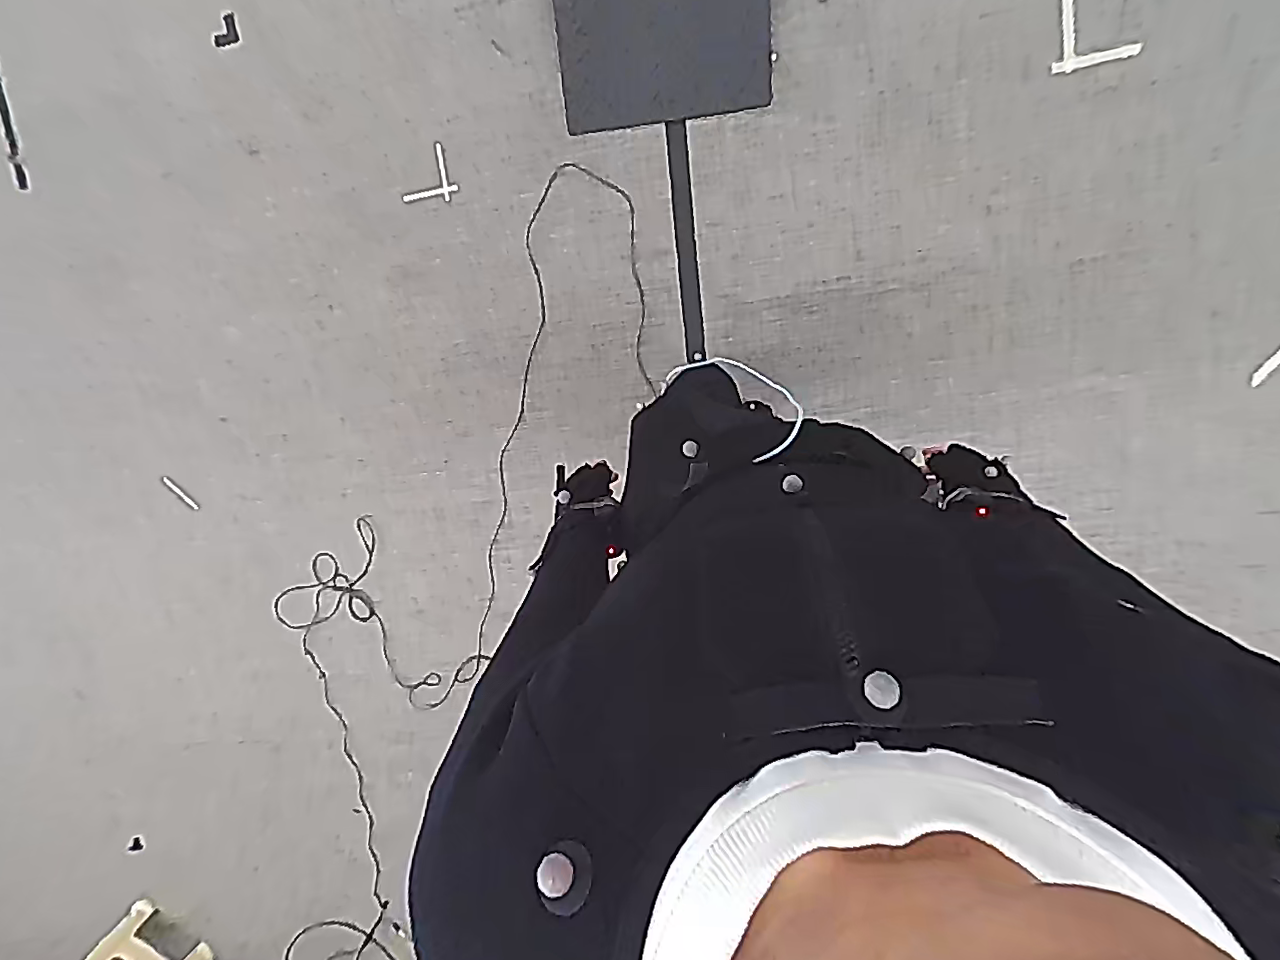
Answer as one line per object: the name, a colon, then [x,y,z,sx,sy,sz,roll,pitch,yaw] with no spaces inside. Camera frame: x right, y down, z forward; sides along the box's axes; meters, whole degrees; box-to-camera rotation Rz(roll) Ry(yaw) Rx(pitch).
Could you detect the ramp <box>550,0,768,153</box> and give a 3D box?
ramp: [0.008,-1.312,1.172,0.509,0.206,0.991,-6,99,8]
